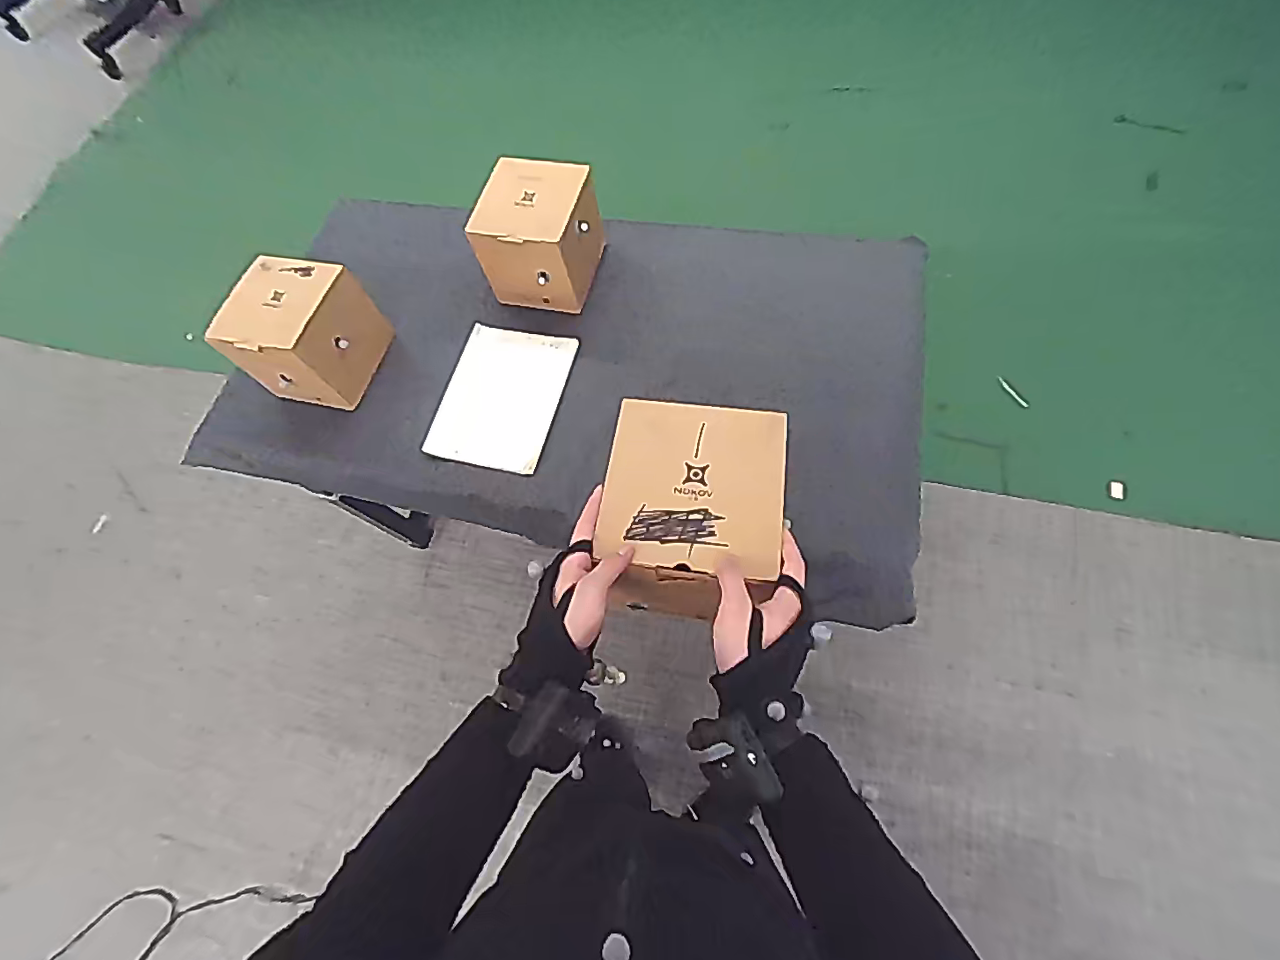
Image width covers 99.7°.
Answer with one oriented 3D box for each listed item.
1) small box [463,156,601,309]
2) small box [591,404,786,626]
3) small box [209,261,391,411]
[{"bbox_3d":[-0.174,-0.424,0.941,0.168,0.176,0.179,11,69,10],"label":"small box"},{"bbox_3d":[0.055,0.044,0.574,0.168,0.176,0.179,7,62,7],"label":"small box"},{"bbox_3d":[-0.562,-0.239,0.923,0.168,0.176,0.179,11,68,11],"label":"small box"}]
